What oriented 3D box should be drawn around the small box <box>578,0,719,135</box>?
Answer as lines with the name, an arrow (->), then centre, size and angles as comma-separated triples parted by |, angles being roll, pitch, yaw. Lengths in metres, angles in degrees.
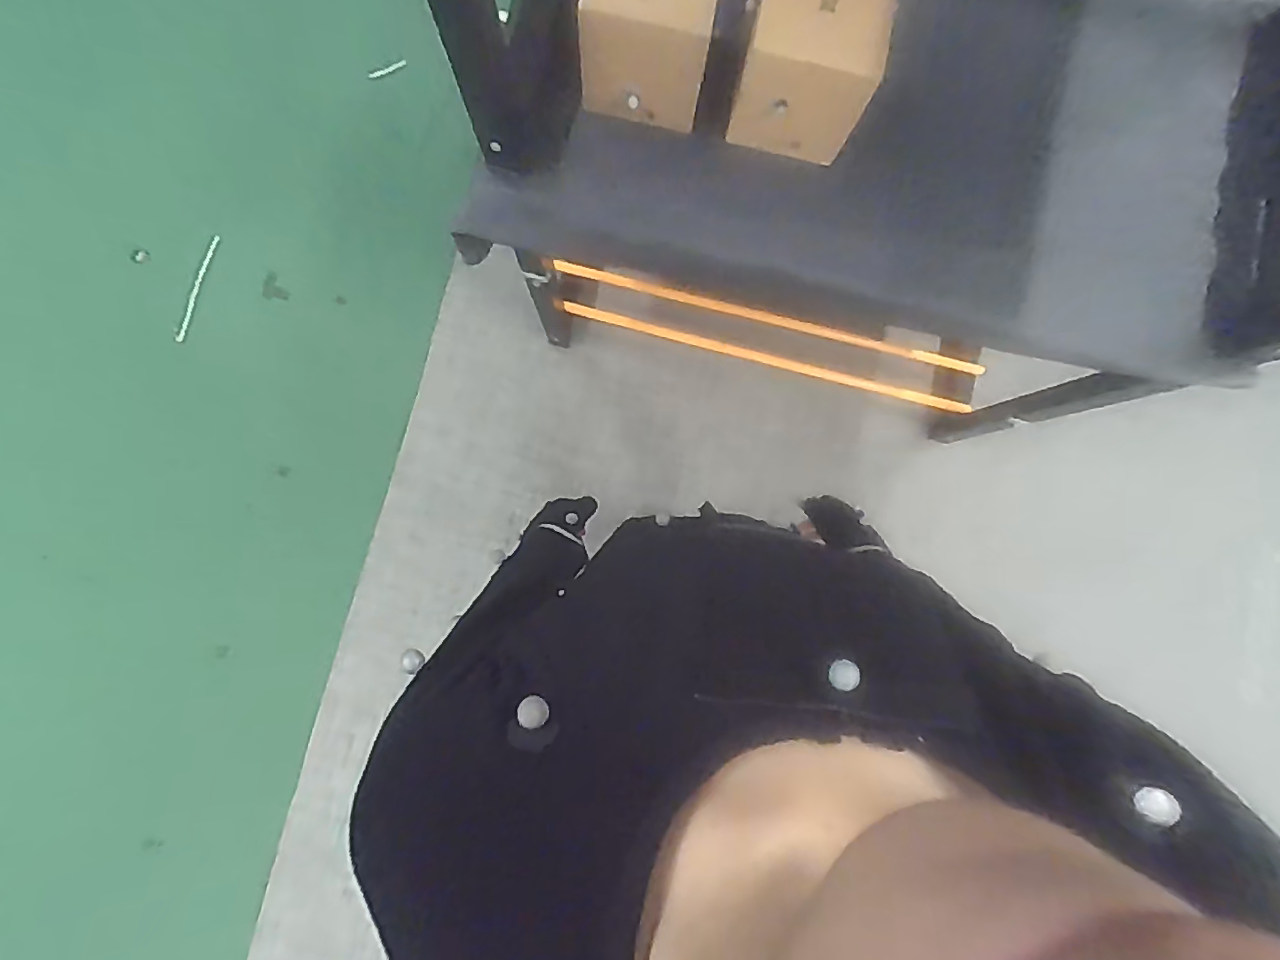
small box -> 0.016, -0.622, 0.736 | 0.168, 0.176, 0.179 | 11, 85, -1
